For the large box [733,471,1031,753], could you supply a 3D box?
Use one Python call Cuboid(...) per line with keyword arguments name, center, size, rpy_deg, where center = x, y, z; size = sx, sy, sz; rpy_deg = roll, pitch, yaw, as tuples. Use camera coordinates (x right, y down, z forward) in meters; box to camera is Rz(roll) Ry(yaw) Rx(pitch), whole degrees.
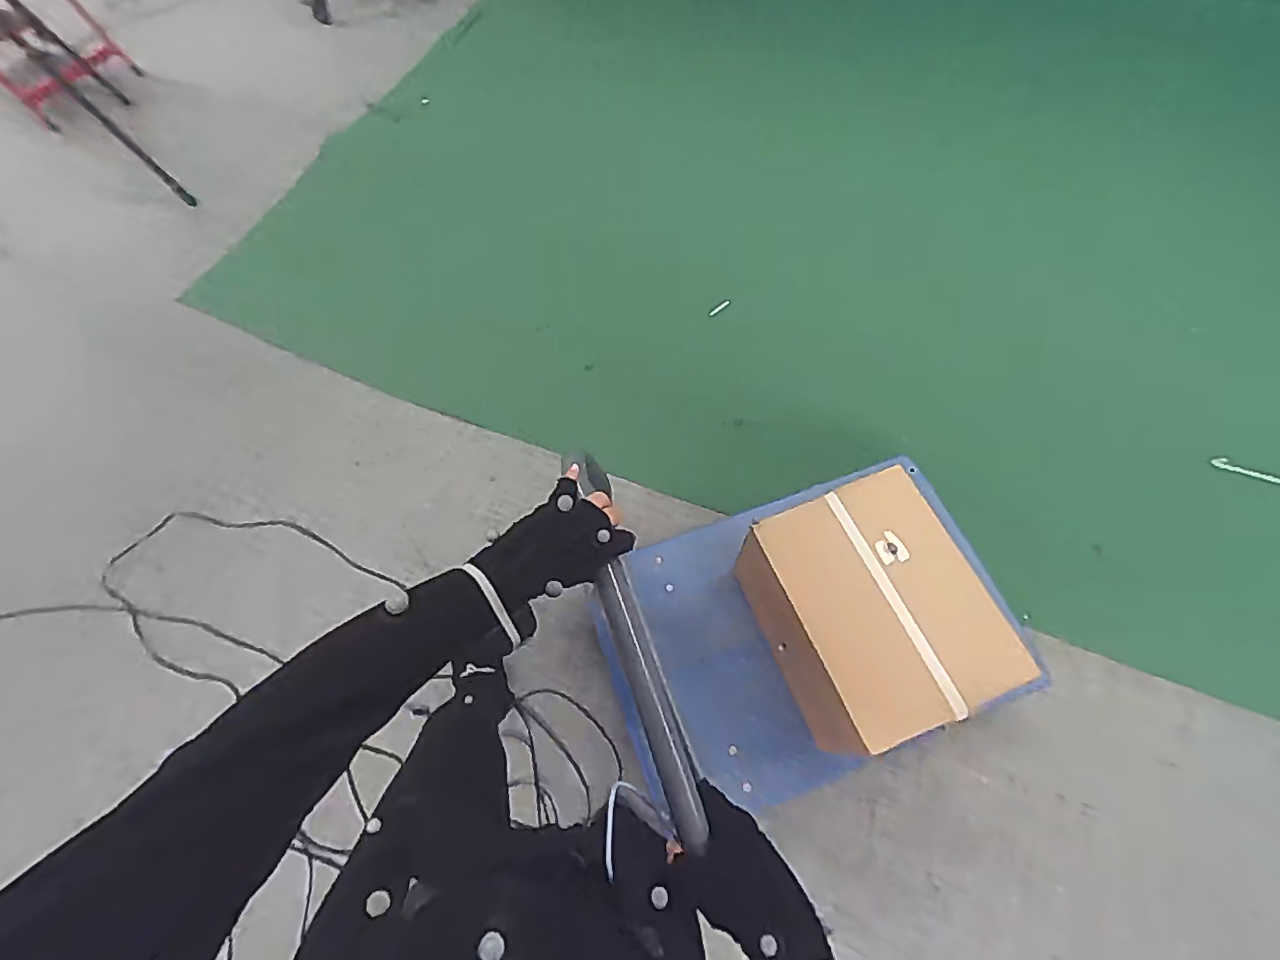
Cuboid(name="large box", center=(0.418, 0.263, 1.056), size=(0.320, 0.320, 0.408), rpy_deg=(-21, 65, -8))
